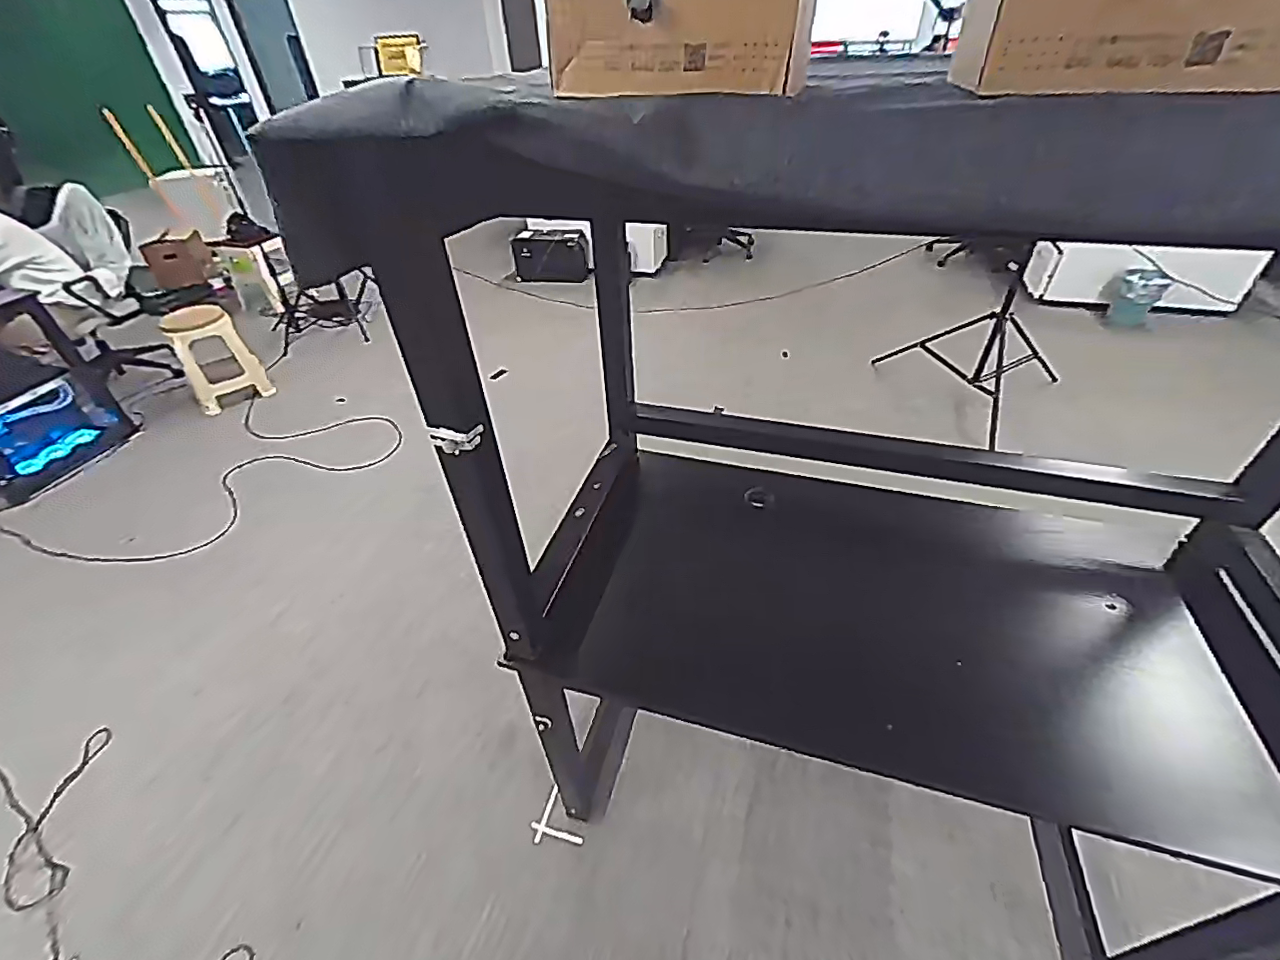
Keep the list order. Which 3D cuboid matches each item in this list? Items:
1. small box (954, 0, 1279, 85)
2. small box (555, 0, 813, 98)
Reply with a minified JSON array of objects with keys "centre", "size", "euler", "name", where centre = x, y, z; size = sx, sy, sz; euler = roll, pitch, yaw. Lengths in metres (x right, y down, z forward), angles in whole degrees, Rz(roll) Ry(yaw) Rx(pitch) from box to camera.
[{"centre":[0.301,-0.336,0.310],"size":[0.168,0.176,0.179],"euler":[10,40,15],"name":"small box"},{"centre":[0.039,-0.378,0.377],"size":[0.168,0.176,0.179],"euler":[10,40,13],"name":"small box"}]
